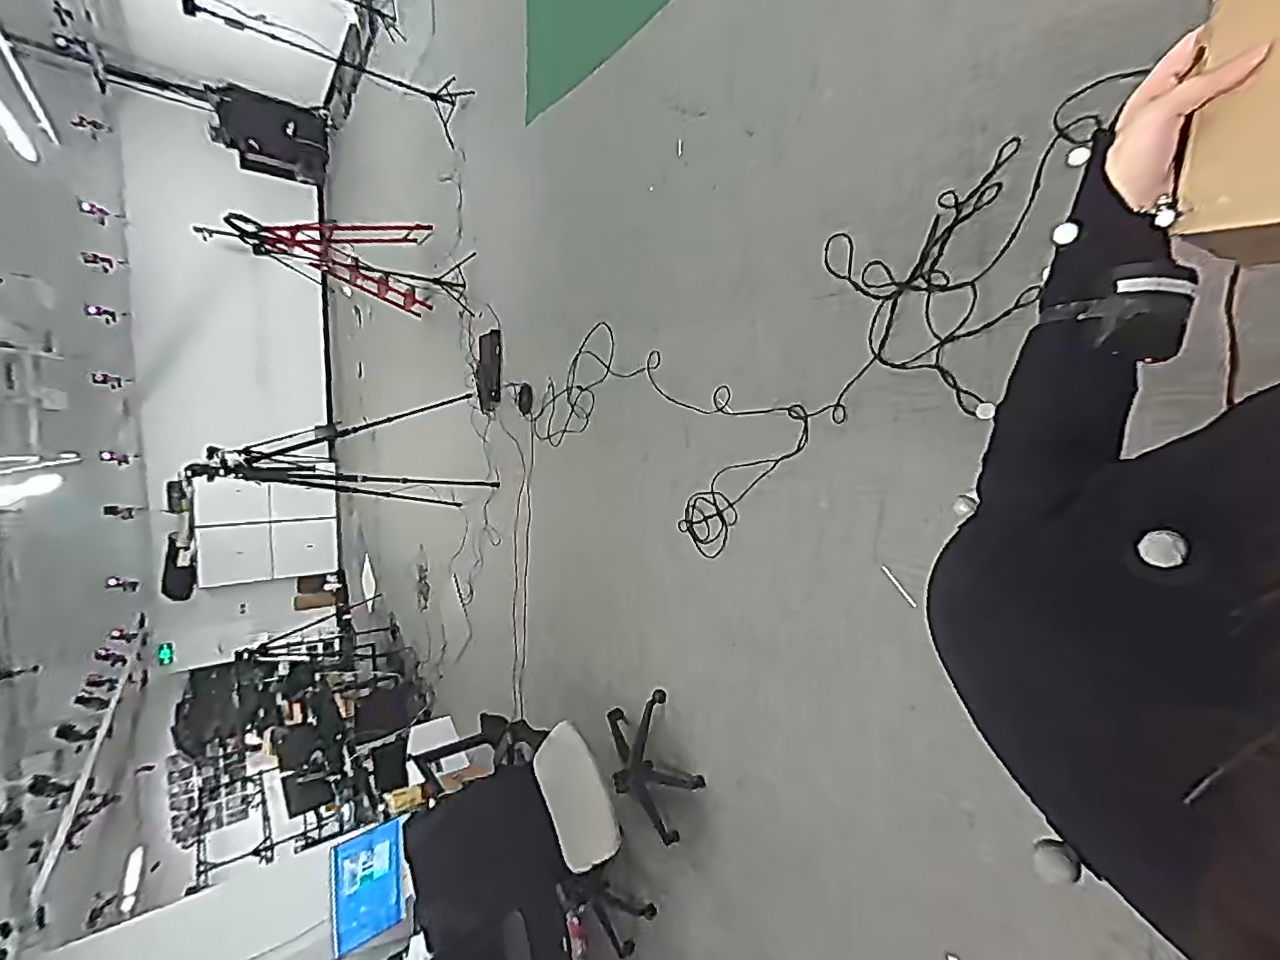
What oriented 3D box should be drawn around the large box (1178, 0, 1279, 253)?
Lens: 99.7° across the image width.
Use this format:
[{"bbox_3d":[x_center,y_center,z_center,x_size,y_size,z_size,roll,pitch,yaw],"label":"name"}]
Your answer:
[{"bbox_3d":[0.637,-0.328,0.298,0.408,0.320,0.320,17,112,53],"label":"large box"}]
